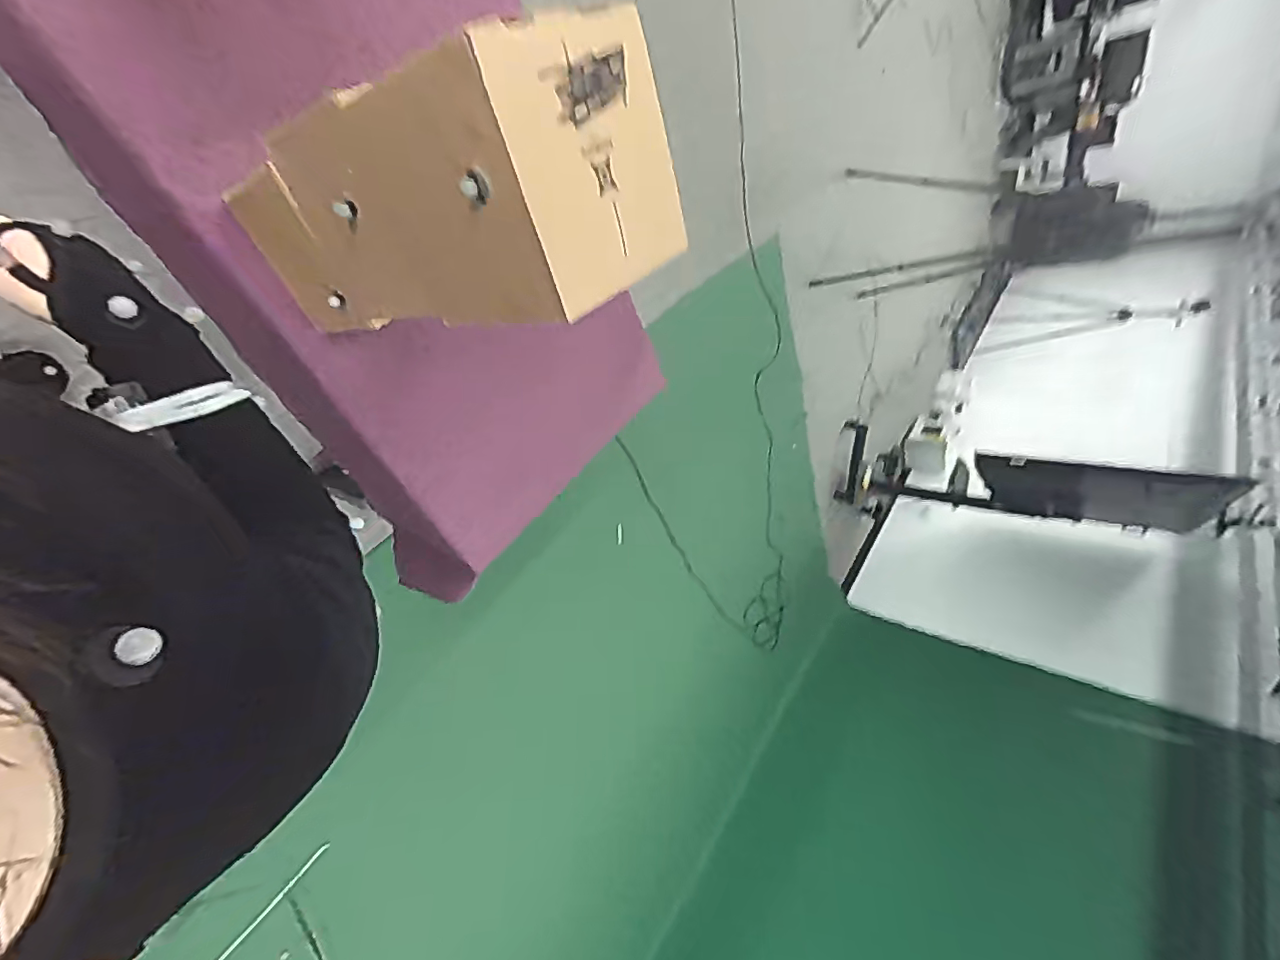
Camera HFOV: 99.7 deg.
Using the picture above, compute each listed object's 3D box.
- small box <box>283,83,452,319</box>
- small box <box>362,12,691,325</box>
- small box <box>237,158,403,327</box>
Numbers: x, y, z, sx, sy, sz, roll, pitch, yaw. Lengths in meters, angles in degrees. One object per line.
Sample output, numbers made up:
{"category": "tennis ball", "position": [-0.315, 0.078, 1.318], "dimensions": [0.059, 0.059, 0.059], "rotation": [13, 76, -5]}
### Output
{"category": "small box", "position": [-0.212, -0.275, 0.544], "dimensions": [0.168, 0.176, 0.179], "rotation": [-44, 130, -33]}
{"category": "small box", "position": [-0.086, -0.239, 0.444], "dimensions": [0.168, 0.176, 0.179], "rotation": [-44, 132, -34]}
{"category": "small box", "position": [-0.334, -0.298, 0.652], "dimensions": [0.168, 0.176, 0.179], "rotation": [-48, 132, -31]}
